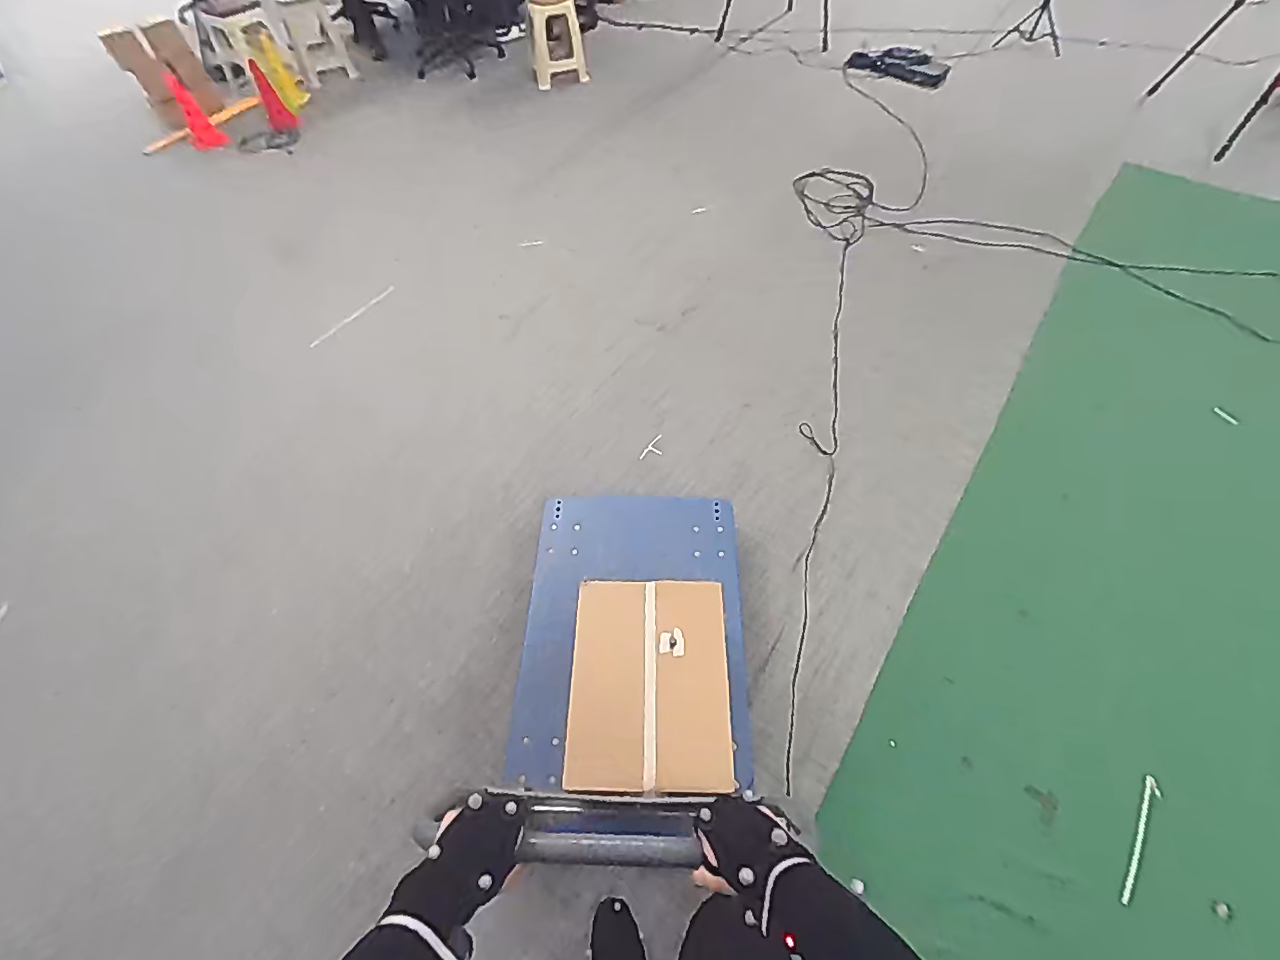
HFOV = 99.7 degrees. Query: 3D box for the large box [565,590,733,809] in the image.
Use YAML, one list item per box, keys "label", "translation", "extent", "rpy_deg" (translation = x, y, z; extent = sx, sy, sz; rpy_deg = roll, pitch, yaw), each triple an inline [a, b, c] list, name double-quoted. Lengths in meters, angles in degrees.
- label: "large box"
  translation: [0.021, 0.497, 1.216]
  extent: [0.320, 0.320, 0.408]
  rpy_deg: [1, 55, 1]
